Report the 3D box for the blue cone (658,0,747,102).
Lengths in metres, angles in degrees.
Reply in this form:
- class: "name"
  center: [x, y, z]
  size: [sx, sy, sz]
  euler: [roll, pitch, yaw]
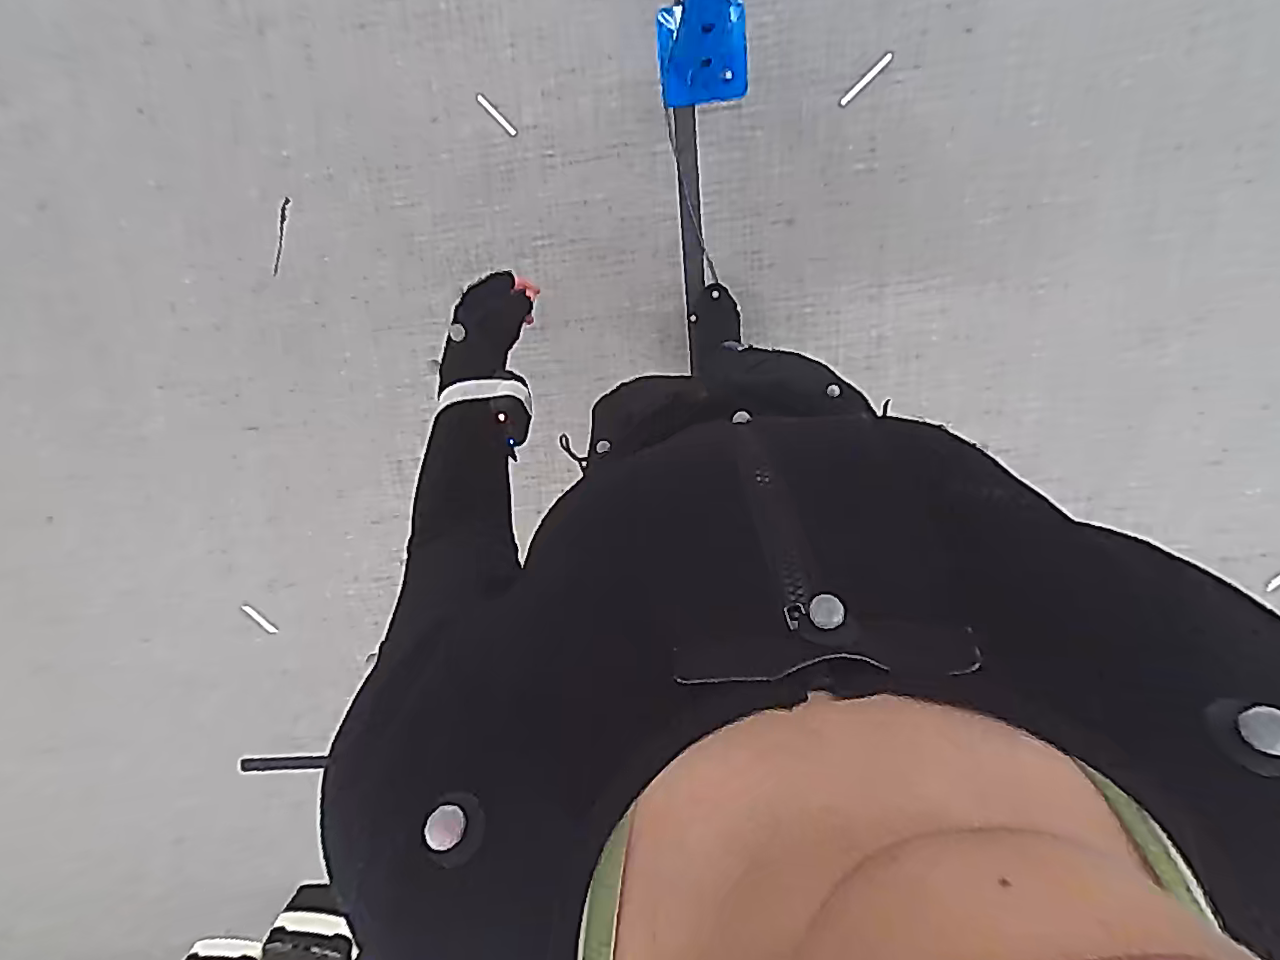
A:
- class: "blue cone"
  center: [0.130, -0.928, 1.050]
  size: [0.193, 0.380, 0.192]
  euler: [-6, 103, 5]
